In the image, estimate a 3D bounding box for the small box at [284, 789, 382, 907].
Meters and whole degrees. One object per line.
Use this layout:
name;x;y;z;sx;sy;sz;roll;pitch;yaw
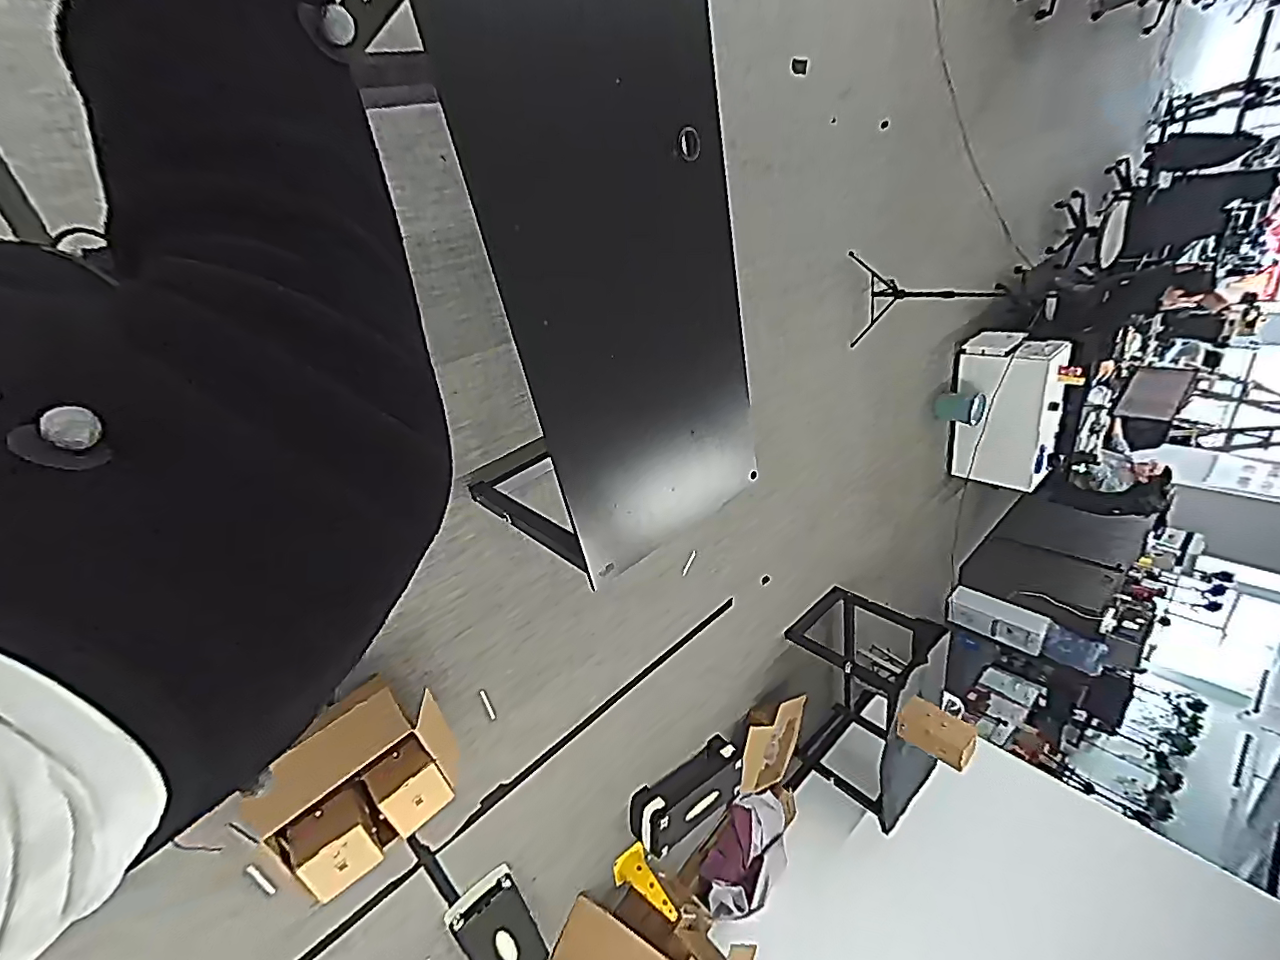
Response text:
small box;-0.845;1.002;1.488;0.168;0.176;0.179;-29;122;-32
